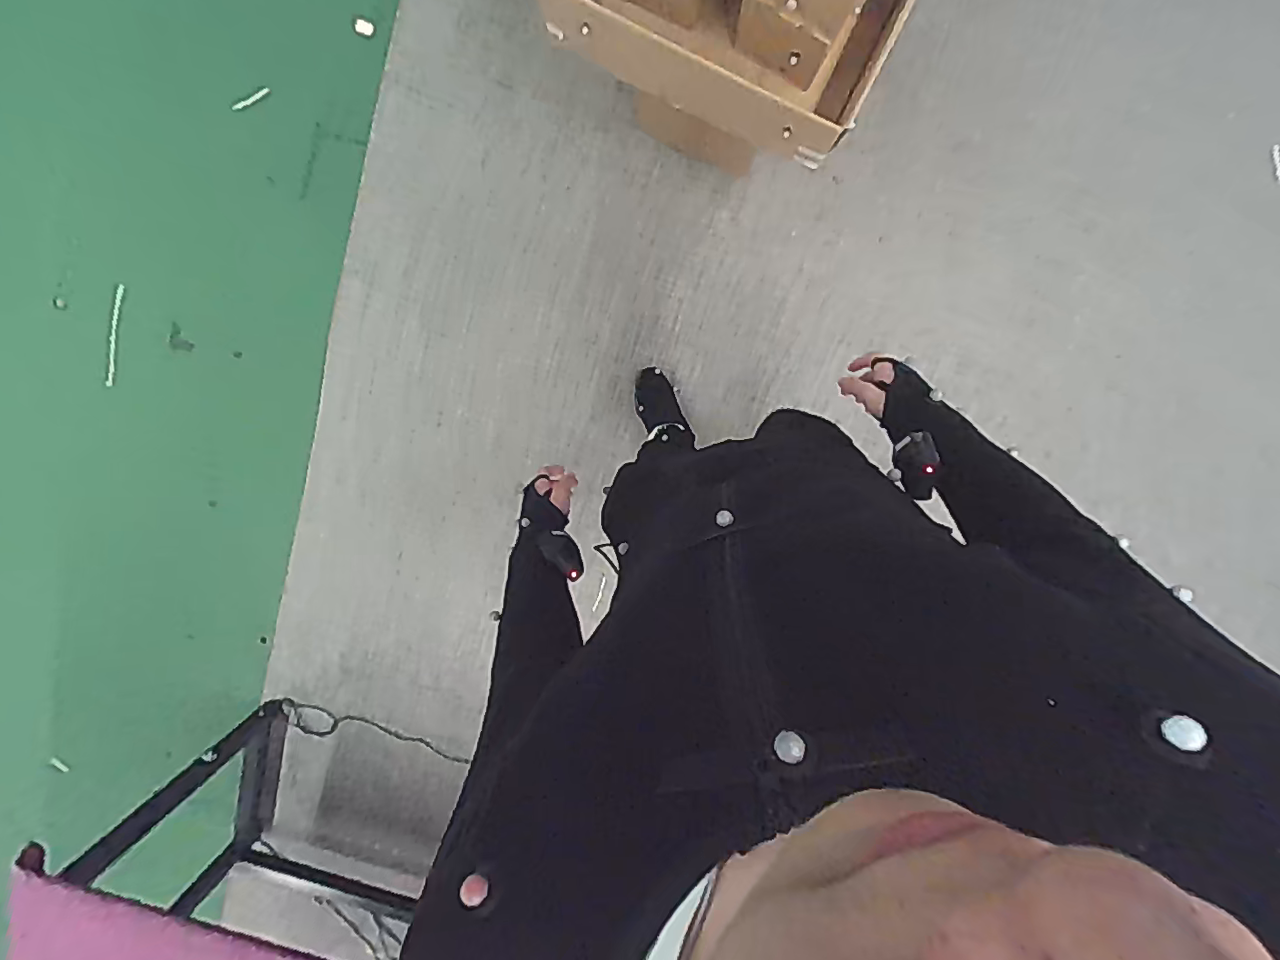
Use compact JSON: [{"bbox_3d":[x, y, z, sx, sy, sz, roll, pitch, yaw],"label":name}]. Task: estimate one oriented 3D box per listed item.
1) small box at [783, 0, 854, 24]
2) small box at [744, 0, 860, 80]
[{"bbox_3d":[0.278,-0.814,0.776,0.179,0.176,0.168,29,103,-3],"label":"small box"},{"bbox_3d":[0.293,-0.849,0.934,0.168,0.176,0.179,30,103,-3],"label":"small box"}]
